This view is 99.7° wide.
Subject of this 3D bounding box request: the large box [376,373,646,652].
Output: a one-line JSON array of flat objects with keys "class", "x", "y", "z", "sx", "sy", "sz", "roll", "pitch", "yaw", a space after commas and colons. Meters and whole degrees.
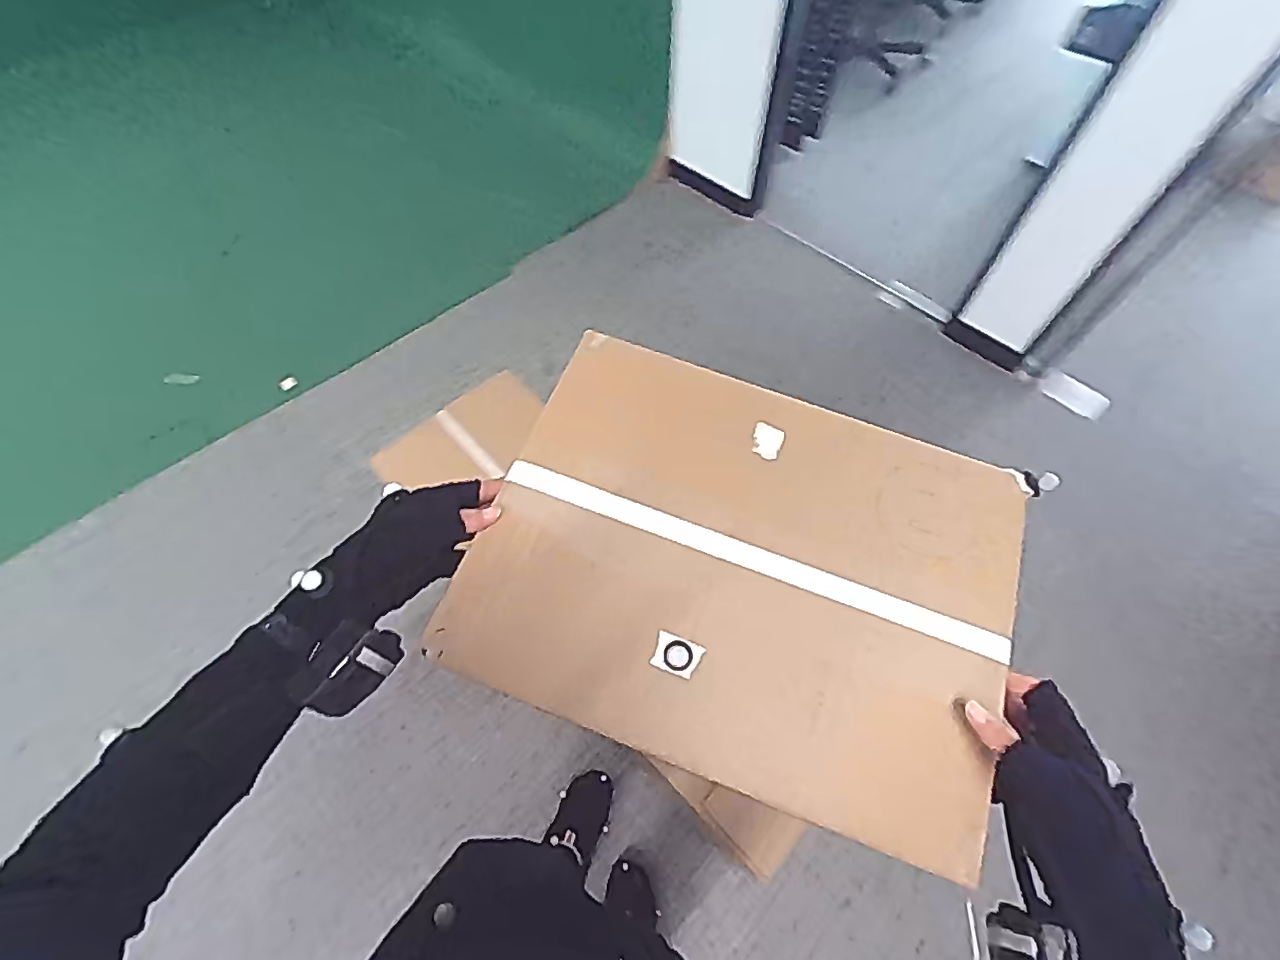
[{"class": "large box", "x": -0.238, "y": 0.068, "z": 1.091, "sx": 0.320, "sy": 0.320, "sz": 0.408, "roll": -39, "pitch": 68, "yaw": -19}]
